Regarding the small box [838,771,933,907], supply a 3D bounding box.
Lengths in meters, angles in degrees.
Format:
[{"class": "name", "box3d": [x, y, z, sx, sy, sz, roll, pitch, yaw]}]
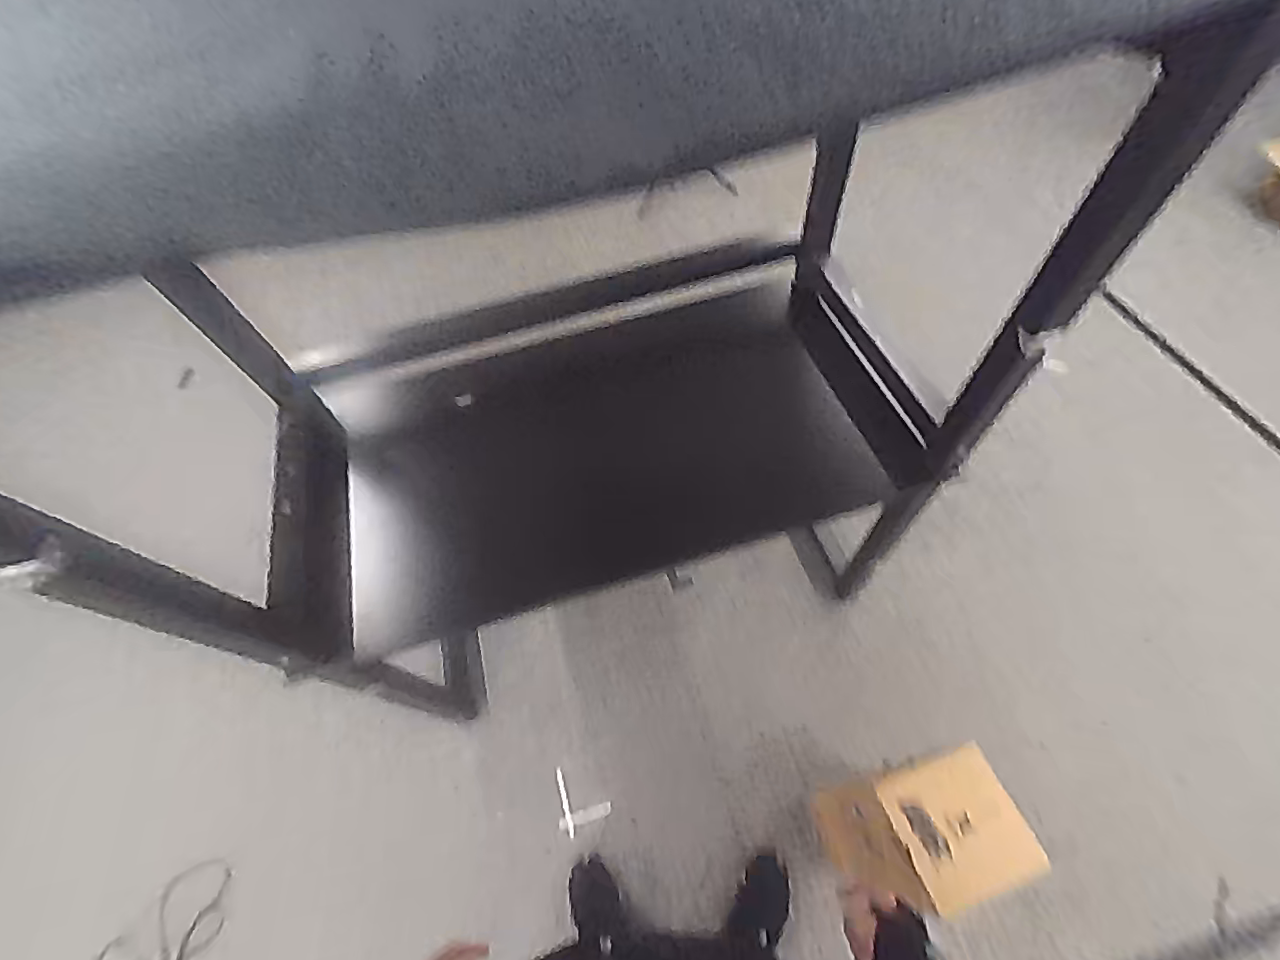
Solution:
[{"class": "small box", "box3d": [0.481, 0.608, 0.958, 0.168, 0.176, 0.179, -20, 60, -5]}]

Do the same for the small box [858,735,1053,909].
[{"class": "small box", "box3d": [0.458, 0.514, 0.825, 0.179, 0.176, 0.168, -20, 60, -6]}]

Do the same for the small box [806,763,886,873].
[{"class": "small box", "box3d": [0.505, 0.768, 1.243, 0.179, 0.176, 0.168, -19, 60, -4]}]
